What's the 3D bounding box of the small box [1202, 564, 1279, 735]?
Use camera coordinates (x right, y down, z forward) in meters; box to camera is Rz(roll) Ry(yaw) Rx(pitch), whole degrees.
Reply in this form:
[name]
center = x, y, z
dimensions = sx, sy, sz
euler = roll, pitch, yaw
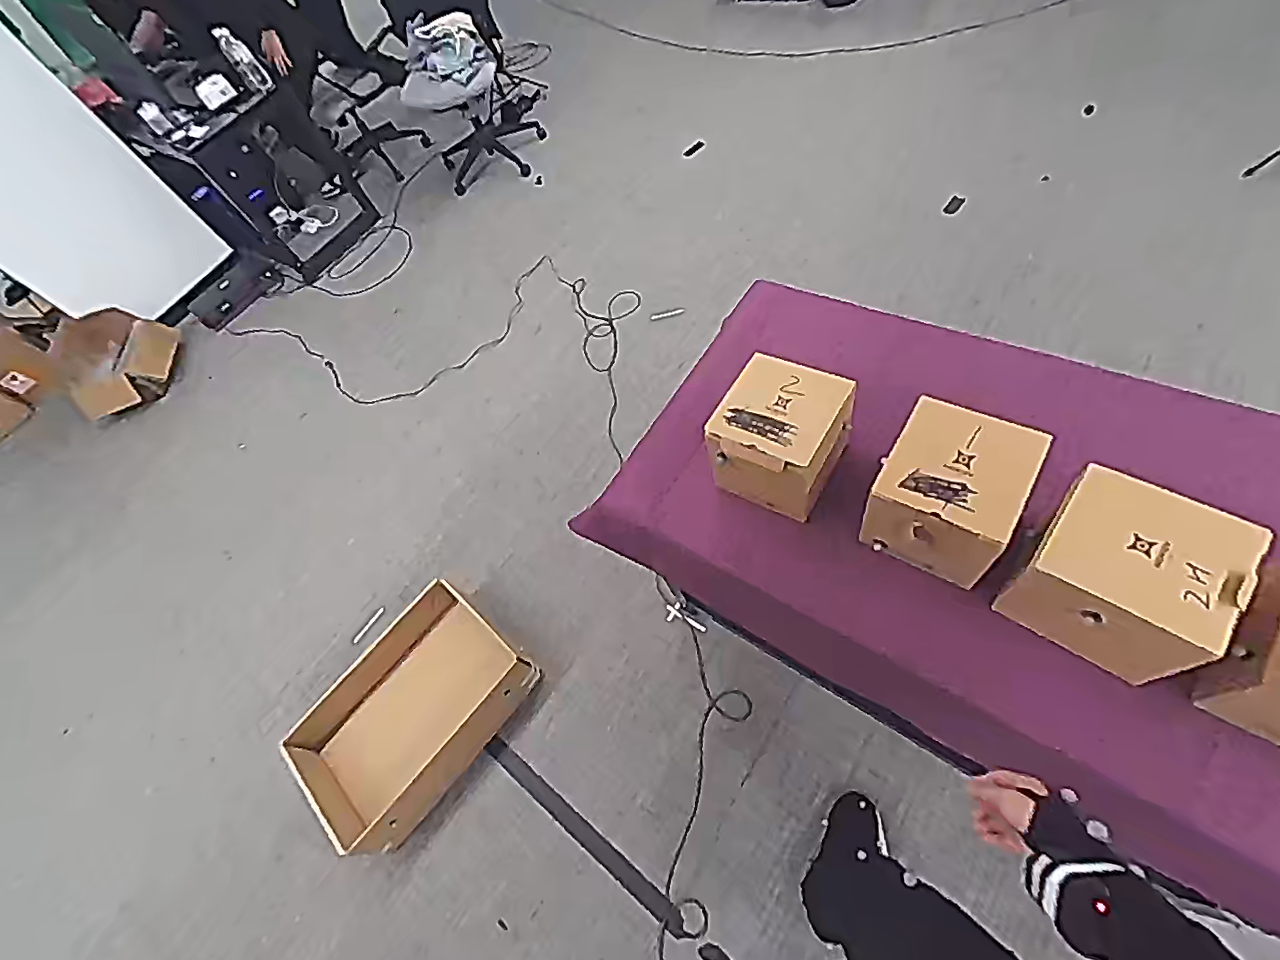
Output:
[small box]
center = 0.757, 0.194, 0.567
dimensions = 0.168, 0.176, 0.179
euler = 29, 71, 27
